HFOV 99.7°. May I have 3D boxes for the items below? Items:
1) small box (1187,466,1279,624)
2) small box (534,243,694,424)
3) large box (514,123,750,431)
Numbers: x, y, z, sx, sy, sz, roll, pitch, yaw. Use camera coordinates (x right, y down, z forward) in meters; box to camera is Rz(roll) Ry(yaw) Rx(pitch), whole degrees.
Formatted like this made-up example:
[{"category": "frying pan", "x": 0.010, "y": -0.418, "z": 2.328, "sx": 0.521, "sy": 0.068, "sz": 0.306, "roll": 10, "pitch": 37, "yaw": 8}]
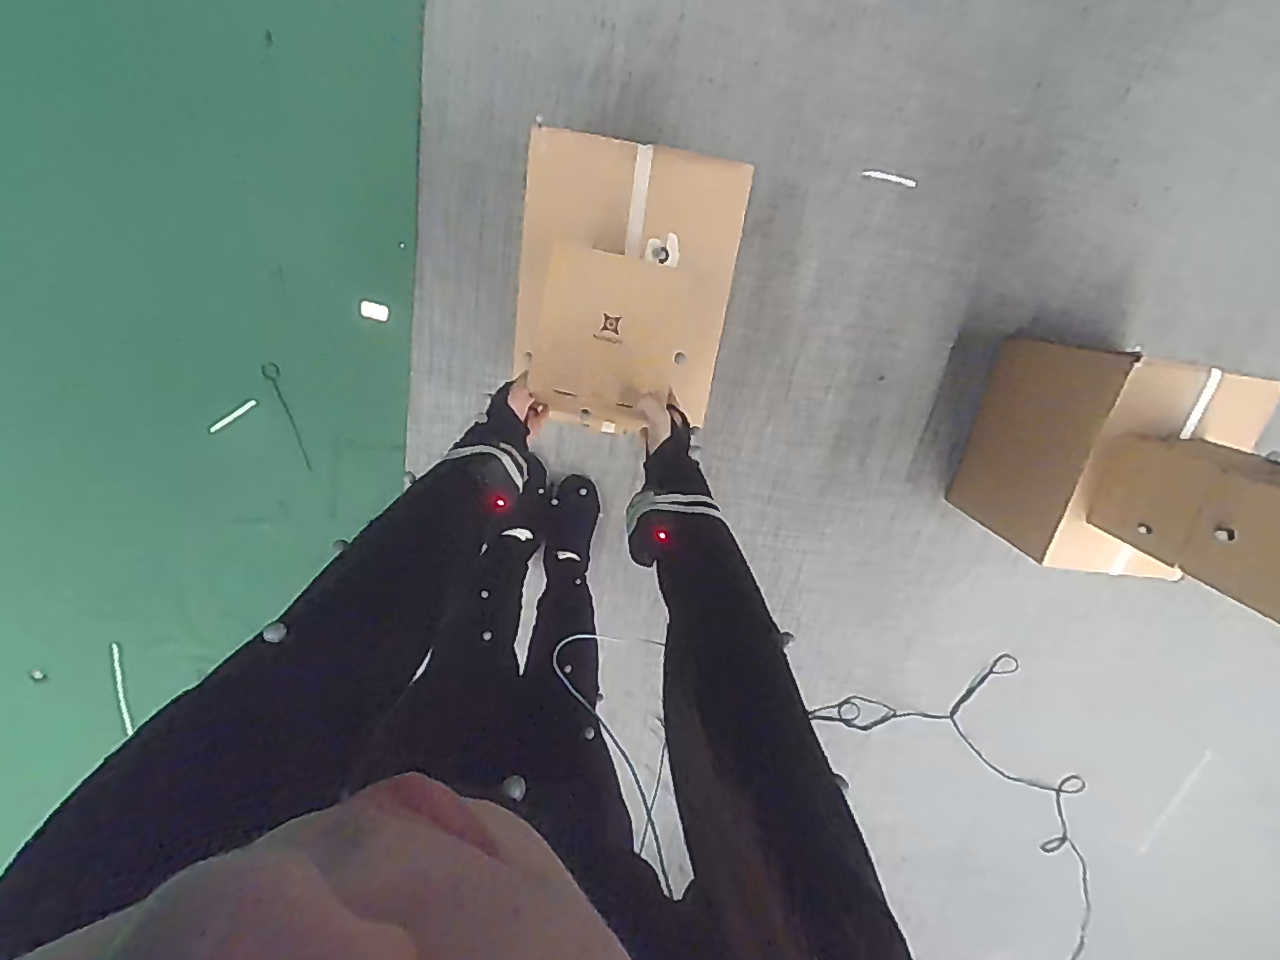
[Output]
[{"category": "small box", "x": 0.943, "y": 0.092, "z": 0.756, "sx": 0.168, "sy": 0.176, "sz": 0.179, "roll": -1, "pitch": 113, "yaw": -3}, {"category": "small box", "x": -0.037, "y": -0.179, "z": 0.715, "sx": 0.168, "sy": 0.176, "sz": 0.179, "roll": 10, "pitch": 91, "yaw": -5}, {"category": "large box", "x": -0.030, "y": -0.331, "z": 0.947, "sx": 0.320, "sy": 0.320, "sz": 0.408, "roll": 7, "pitch": 110, "yaw": -7}]
